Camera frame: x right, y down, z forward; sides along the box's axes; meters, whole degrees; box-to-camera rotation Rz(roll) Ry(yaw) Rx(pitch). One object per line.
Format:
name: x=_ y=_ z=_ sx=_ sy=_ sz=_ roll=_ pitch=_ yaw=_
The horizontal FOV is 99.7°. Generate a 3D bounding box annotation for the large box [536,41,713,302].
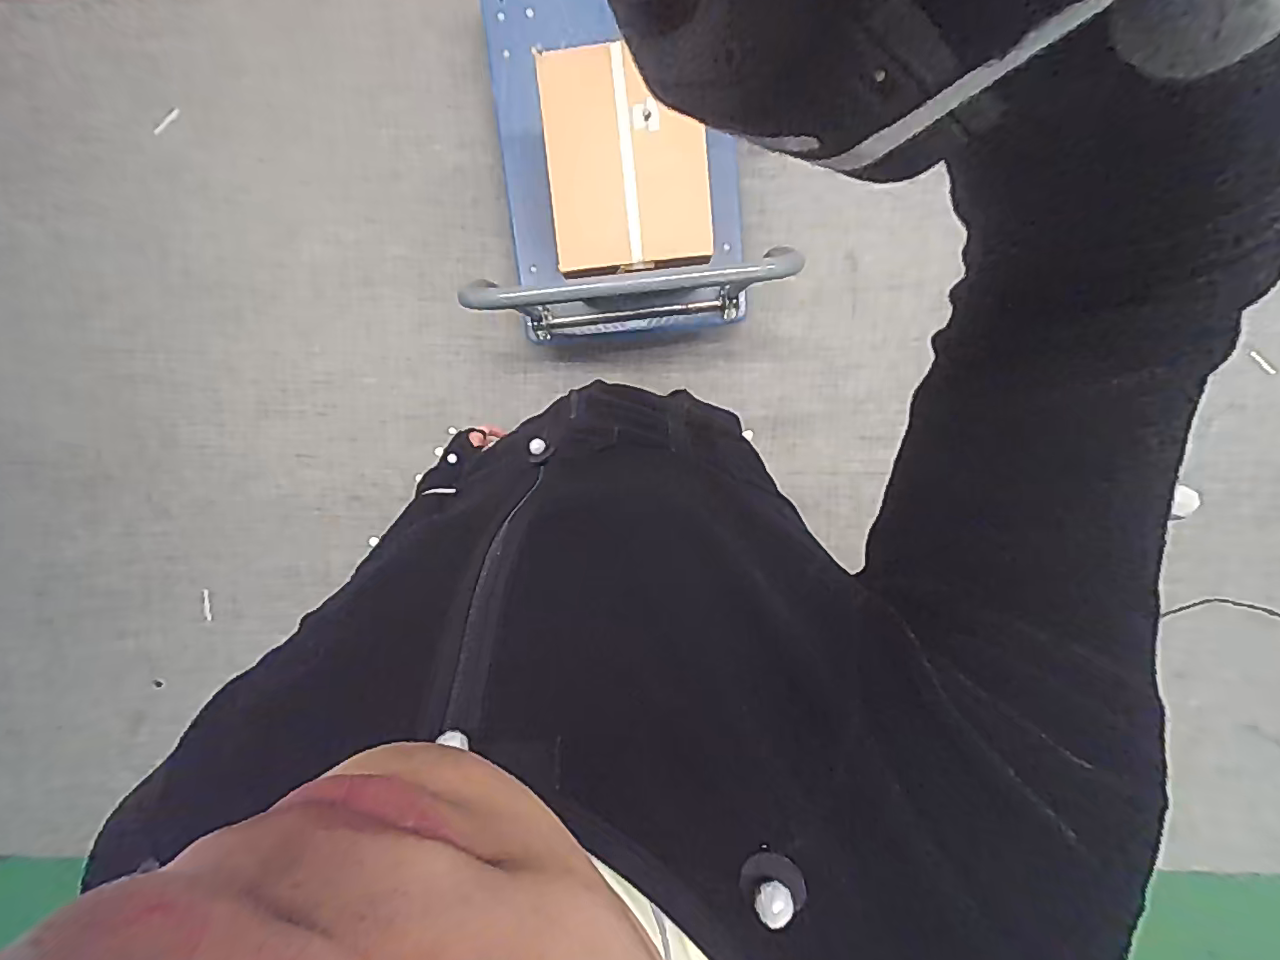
large box: x=-0.022 y=-0.647 z=1.211 sx=0.320 sy=0.320 sz=0.408 roll=-6 pitch=98 yaw=2
